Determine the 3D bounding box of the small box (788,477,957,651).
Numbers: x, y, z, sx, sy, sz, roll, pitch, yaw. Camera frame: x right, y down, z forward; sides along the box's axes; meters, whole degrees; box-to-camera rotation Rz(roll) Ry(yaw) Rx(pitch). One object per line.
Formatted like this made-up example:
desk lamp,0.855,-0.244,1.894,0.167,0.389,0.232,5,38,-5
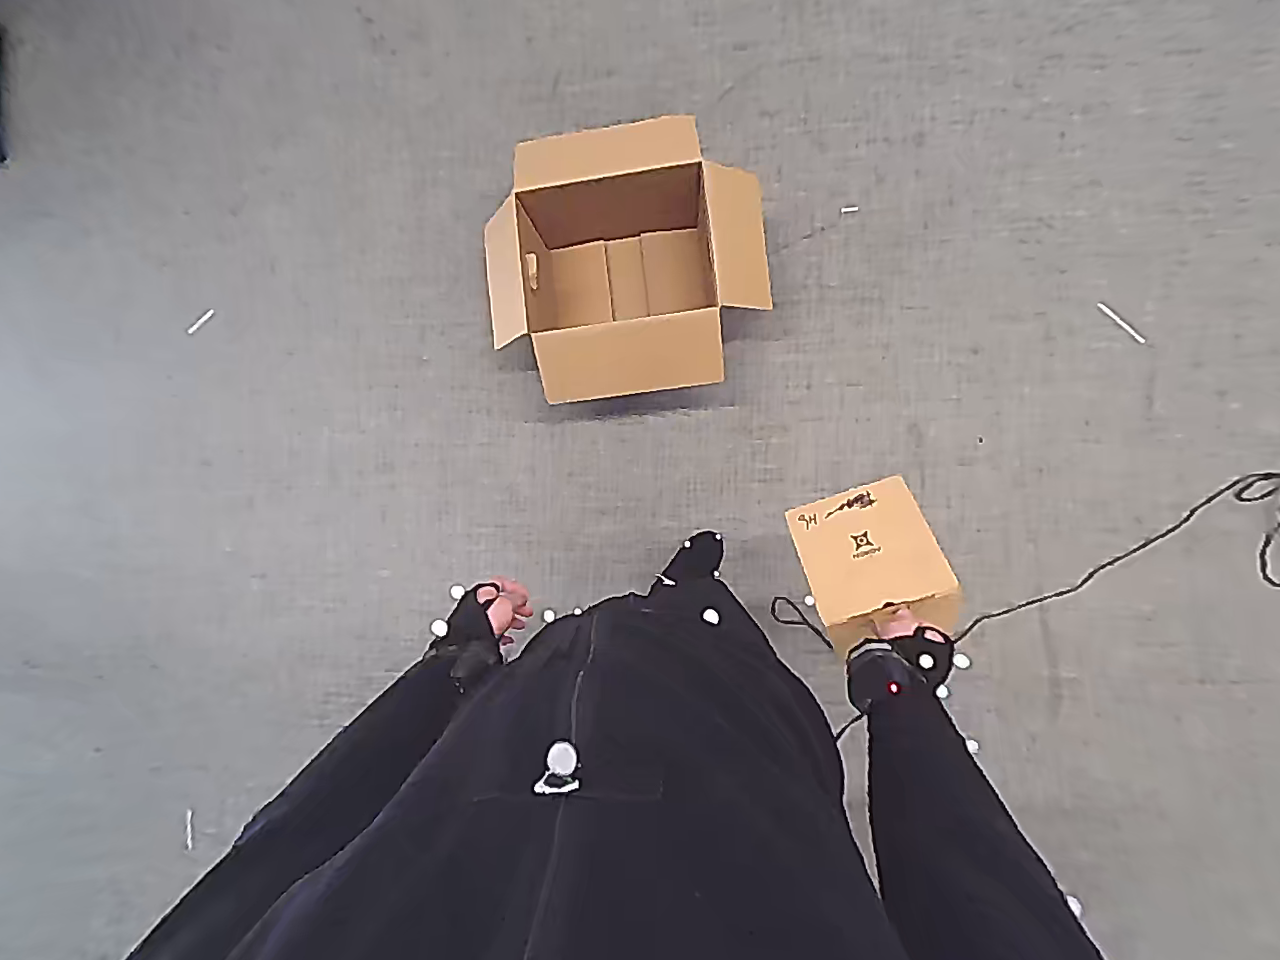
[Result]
small box,0.326,0.129,0.768,0.168,0.176,0.179,-19,52,15
